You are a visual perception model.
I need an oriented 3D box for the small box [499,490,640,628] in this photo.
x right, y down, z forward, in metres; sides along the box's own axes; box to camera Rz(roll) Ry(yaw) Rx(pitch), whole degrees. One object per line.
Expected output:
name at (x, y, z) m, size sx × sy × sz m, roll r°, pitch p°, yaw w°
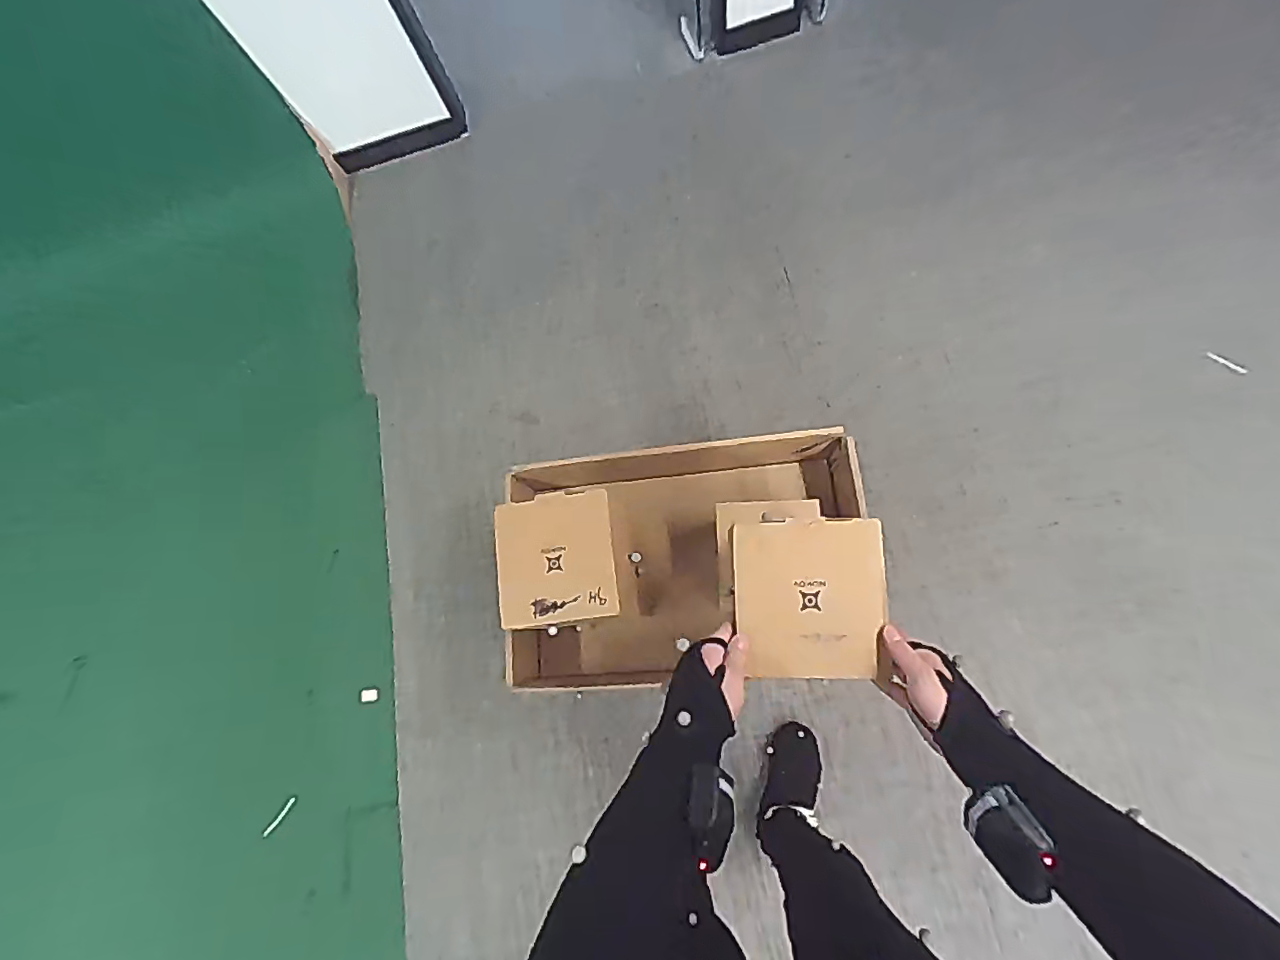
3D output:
small box at (-0.101, 0.128, 0.824) m, size 0.168 × 0.176 × 0.179 m, roll -10°, pitch 75°, yaw 9°

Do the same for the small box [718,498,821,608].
small box at (0.220, 0.135, 0.932) m, size 0.168 × 0.176 × 0.179 m, roll -3°, pitch 76°, yaw 10°

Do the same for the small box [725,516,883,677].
small box at (0.194, 0.141, 0.686) m, size 0.168 × 0.176 × 0.179 m, roll -2°, pitch 82°, yaw 9°
